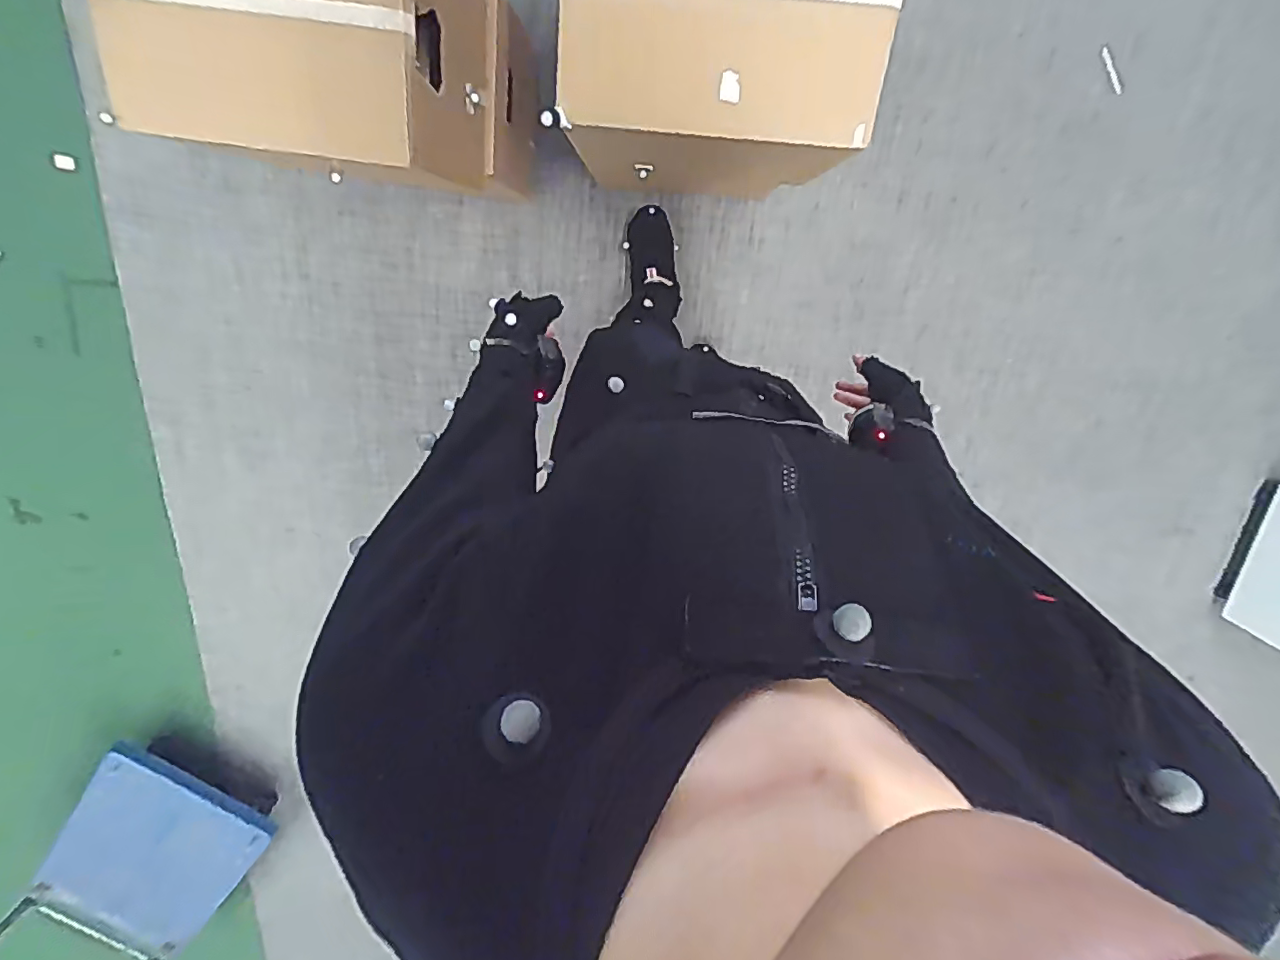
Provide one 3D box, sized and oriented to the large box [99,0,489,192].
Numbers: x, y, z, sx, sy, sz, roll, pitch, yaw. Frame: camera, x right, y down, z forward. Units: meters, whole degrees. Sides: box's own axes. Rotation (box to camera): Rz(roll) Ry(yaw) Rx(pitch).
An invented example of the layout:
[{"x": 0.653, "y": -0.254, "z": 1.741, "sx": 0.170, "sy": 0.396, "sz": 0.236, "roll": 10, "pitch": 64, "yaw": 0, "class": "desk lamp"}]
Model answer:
[{"x": -0.468, "y": -0.637, "z": 0.808, "sx": 0.408, "sy": 0.320, "sz": 0.320, "roll": 9, "pitch": 111, "yaw": 1, "class": "large box"}]
